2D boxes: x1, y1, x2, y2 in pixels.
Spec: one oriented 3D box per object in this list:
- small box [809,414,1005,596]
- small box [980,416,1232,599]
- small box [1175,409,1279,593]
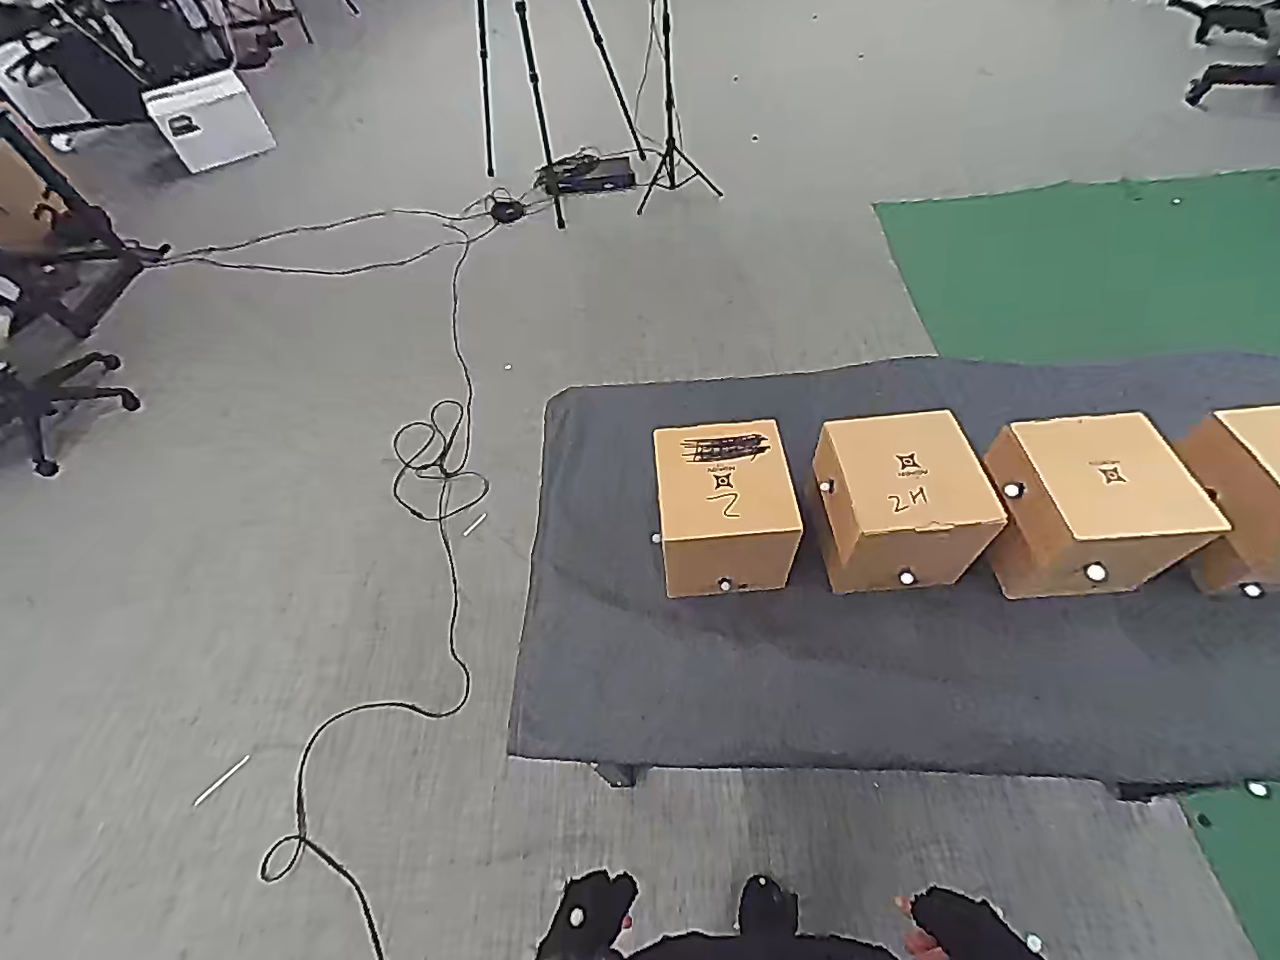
[{"bbox_3d":[0.333,0.037,0.722,0.168,0.176,0.179,-5,54,4],"label":"small box"},{"bbox_3d":[0.557,0.043,0.693,0.168,0.176,0.179,-5,53,3],"label":"small box"},{"bbox_3d":[0.796,0.030,0.672,0.168,0.176,0.179,-5,53,3],"label":"small box"}]
